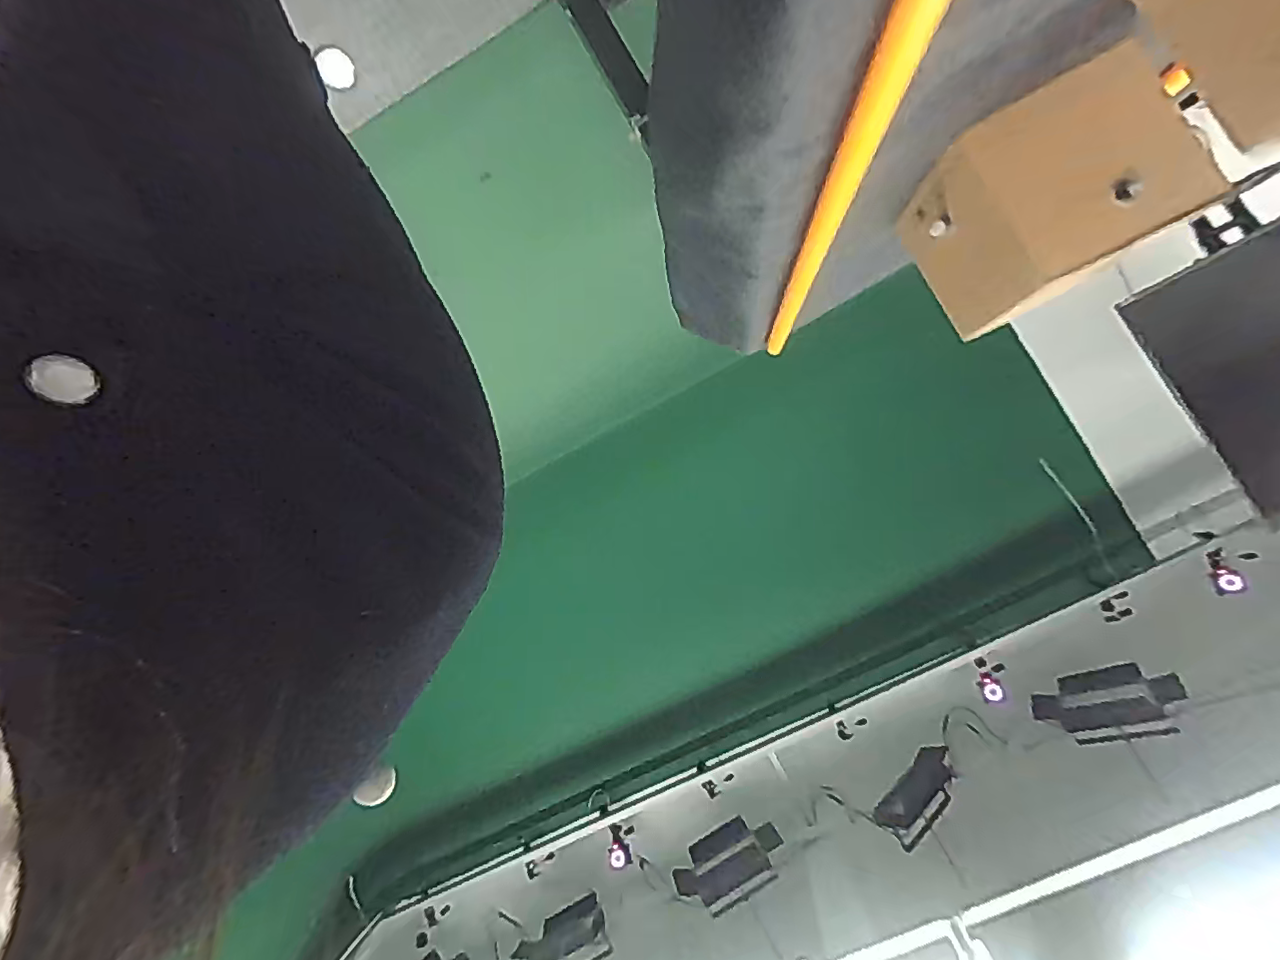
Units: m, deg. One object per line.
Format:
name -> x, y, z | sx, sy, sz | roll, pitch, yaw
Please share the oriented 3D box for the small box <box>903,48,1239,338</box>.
small box -> 0.417, -0.283, 0.560 | 0.179, 0.176, 0.168 | -28, 174, 5
